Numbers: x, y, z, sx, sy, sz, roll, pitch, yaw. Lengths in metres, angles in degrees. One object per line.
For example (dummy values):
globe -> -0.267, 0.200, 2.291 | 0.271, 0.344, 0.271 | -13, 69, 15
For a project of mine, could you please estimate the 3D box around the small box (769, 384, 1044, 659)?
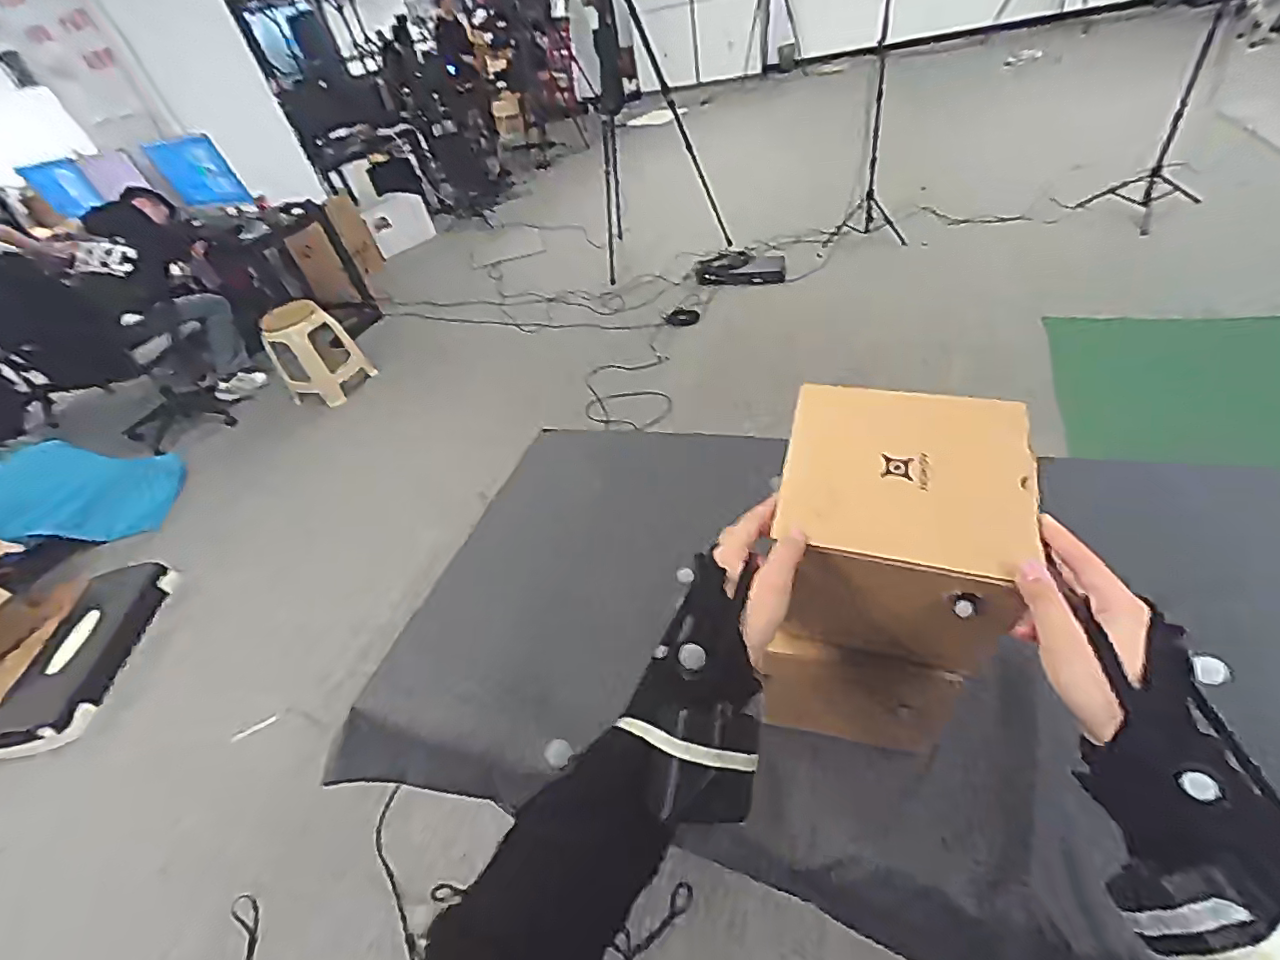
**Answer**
small box -> 0.214, 0.038, 0.474 | 0.179, 0.176, 0.168 | 8, 55, 19
